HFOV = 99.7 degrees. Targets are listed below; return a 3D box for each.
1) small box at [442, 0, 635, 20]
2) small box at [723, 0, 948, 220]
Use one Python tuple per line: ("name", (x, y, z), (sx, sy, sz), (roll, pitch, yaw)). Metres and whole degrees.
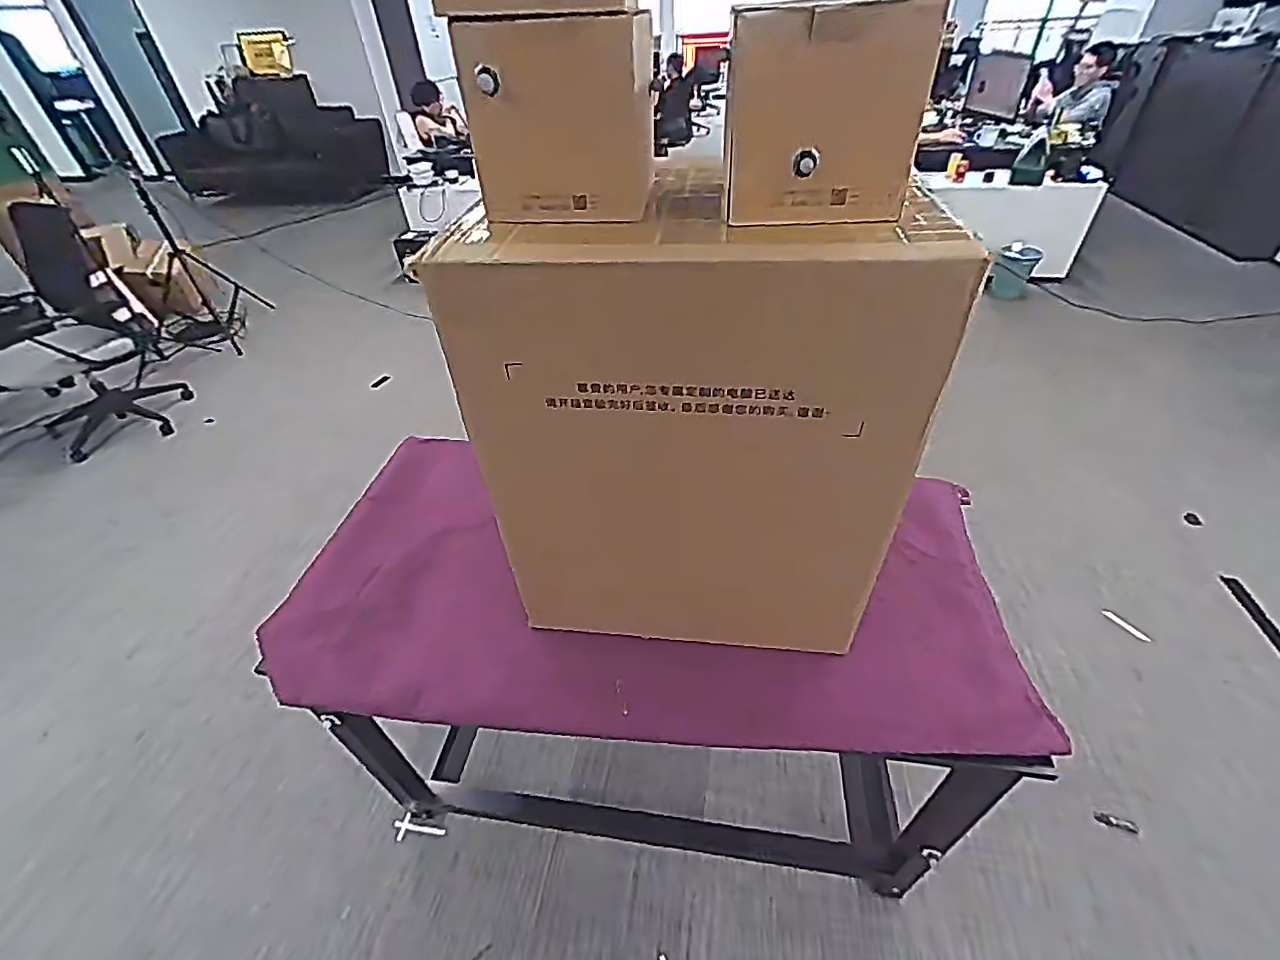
("small box", (-0.091, -0.511, 0.464), (0.168, 0.176, 0.179), (1, 41, 3))
("small box", (0.171, -0.373, 0.541), (0.168, 0.176, 0.179), (0, 42, 6))
